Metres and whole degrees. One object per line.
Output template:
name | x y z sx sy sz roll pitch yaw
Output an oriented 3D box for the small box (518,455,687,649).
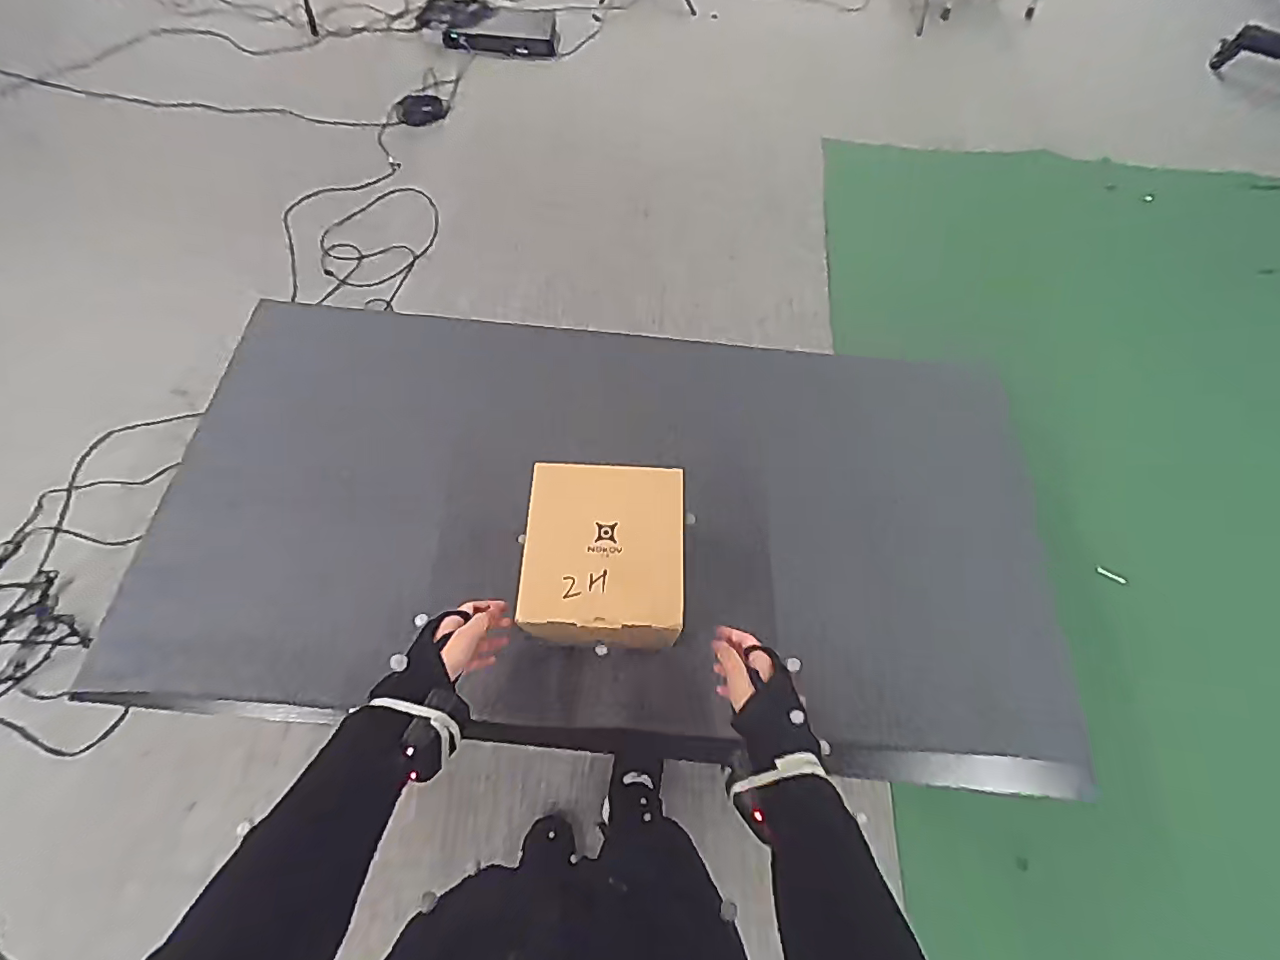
small box | -0.036 0.090 0.628 0.168 0.176 0.179 2 64 -1
